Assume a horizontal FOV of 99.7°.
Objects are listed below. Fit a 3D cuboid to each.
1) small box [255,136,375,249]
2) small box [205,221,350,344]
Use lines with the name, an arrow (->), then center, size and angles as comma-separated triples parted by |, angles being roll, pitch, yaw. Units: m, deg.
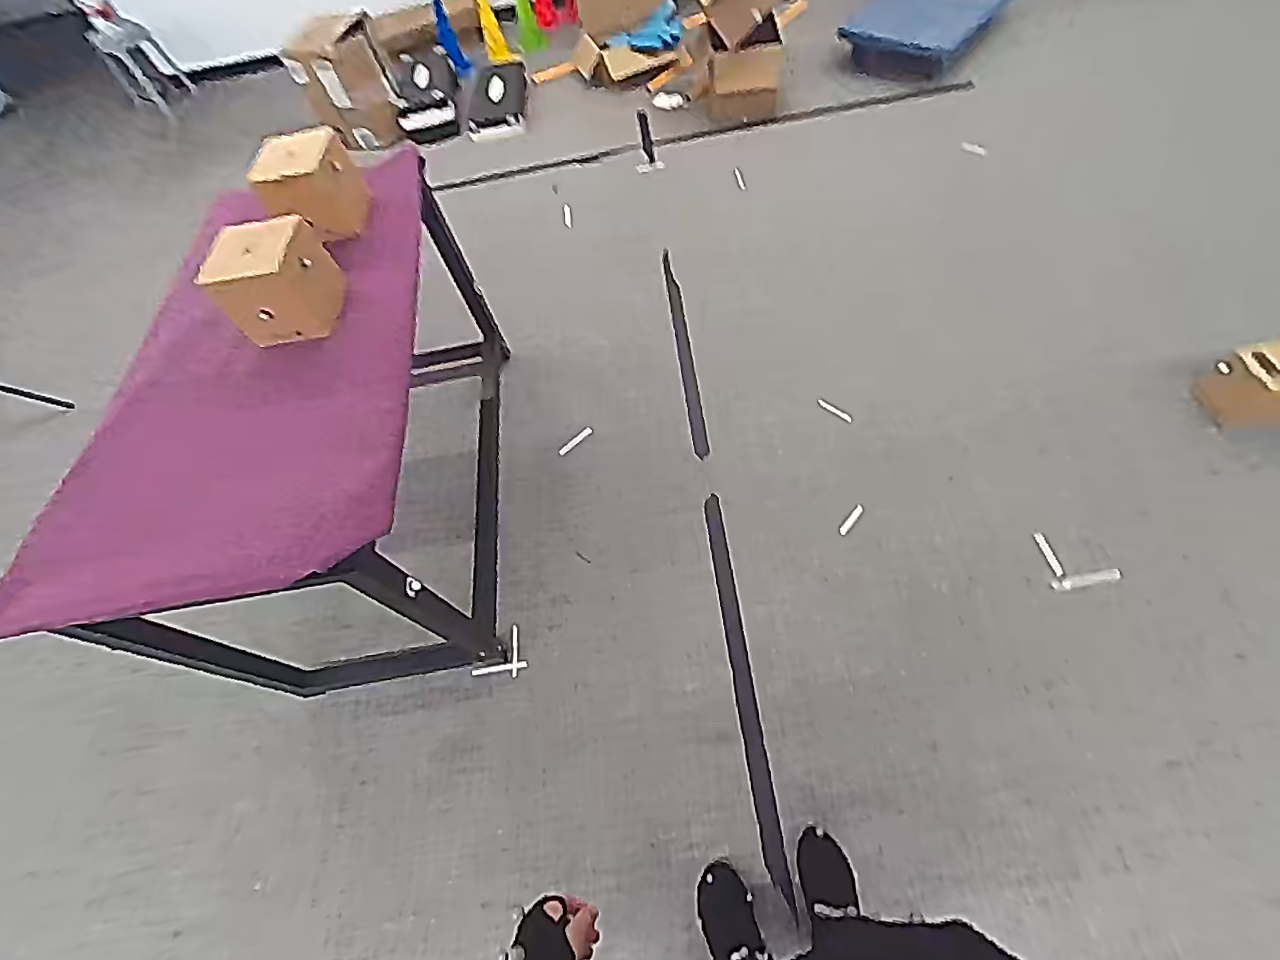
small box -> -0.767, -0.685, 1.299 | 0.168, 0.176, 0.179 | -7, 59, 6
small box -> -0.736, -0.400, 1.123 | 0.168, 0.176, 0.179 | -7, 58, 4
